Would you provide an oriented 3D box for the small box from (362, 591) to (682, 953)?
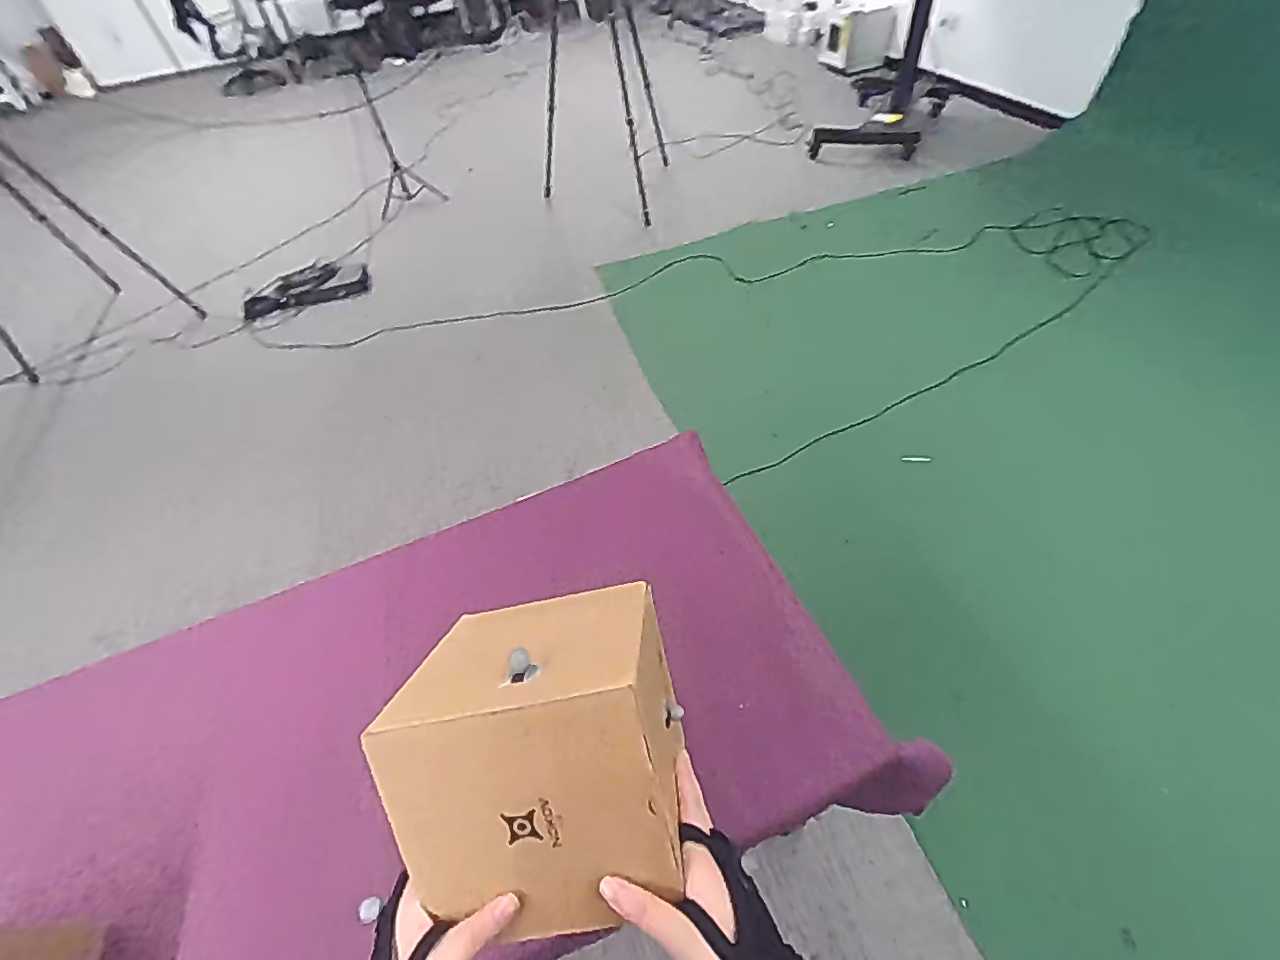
[{"bbox_3d":[-0.068,0.202,0.415,0.179,0.168,0.176,-11,10,4],"label":"small box"}]
